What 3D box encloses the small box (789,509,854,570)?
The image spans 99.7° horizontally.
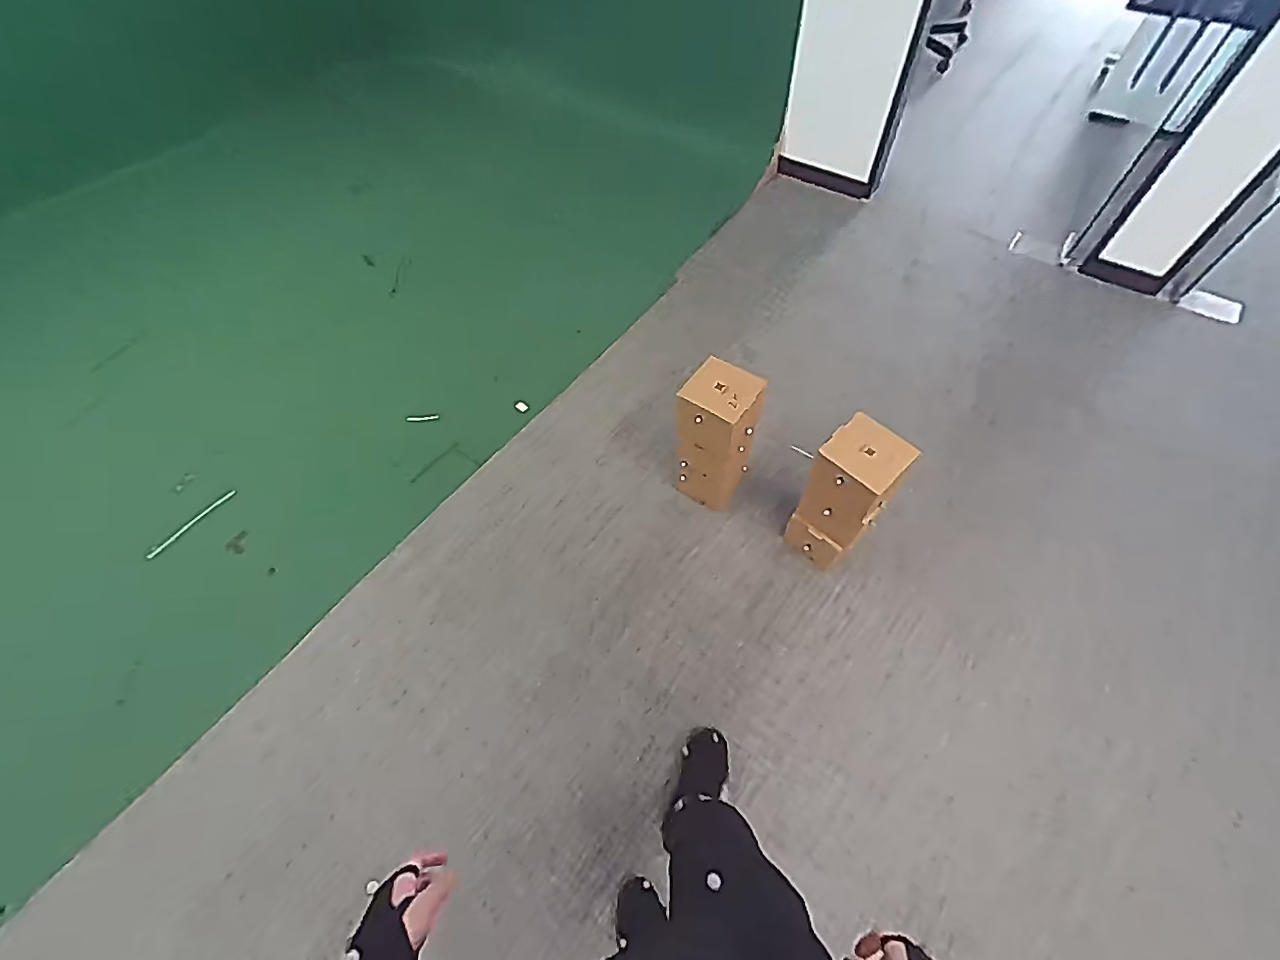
[{"bbox_3d":[0.565,0.138,1.614,0.179,0.176,0.168,-42,66,-18],"label":"small box"}]

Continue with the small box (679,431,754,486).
[{"bbox_3d":[0.231,-0.114,1.600,0.168,0.176,0.179,30,65,20],"label":"small box"}]

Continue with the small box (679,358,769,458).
[{"bbox_3d":[0.219,-0.188,1.452,0.179,0.176,0.168,31,66,20],"label":"small box"}]

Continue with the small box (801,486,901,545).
[{"bbox_3d":[0.567,0.055,1.474,0.179,0.176,0.168,38,68,24],"label":"small box"}]

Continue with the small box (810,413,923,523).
[{"bbox_3d":[0.545,-0.024,1.333,0.168,0.176,0.179,-39,64,-17],"label":"small box"}]
